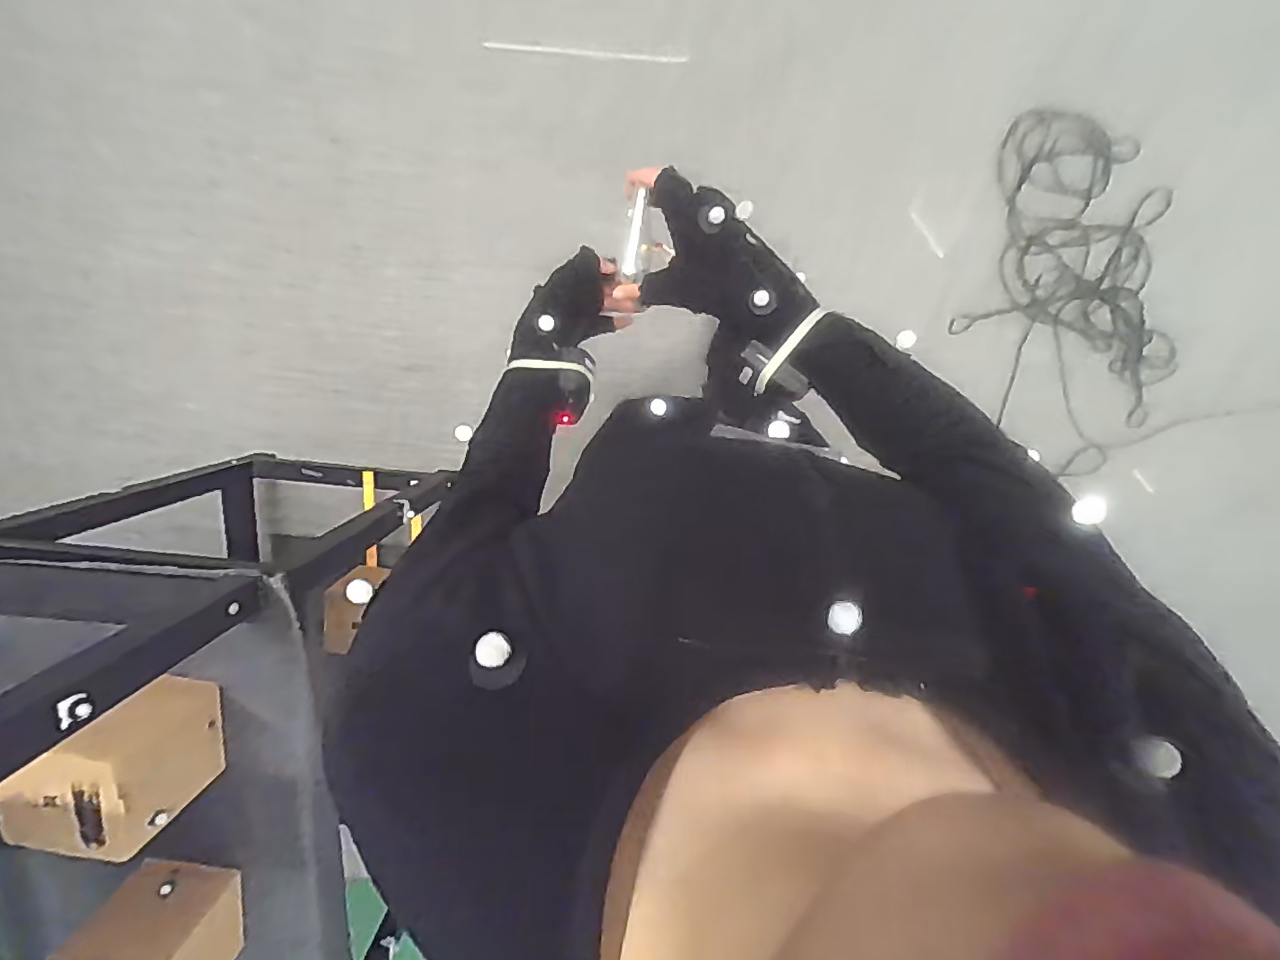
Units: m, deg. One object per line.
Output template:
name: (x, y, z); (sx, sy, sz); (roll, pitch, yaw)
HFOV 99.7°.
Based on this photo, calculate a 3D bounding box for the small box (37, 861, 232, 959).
small box: (-0.787, 0.758, 0.856); (0.168, 0.176, 0.179); (9, 104, 0)

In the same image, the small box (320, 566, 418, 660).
small box: (-0.690, 0.336, 1.391); (0.179, 0.176, 0.168); (9, 104, -1)
